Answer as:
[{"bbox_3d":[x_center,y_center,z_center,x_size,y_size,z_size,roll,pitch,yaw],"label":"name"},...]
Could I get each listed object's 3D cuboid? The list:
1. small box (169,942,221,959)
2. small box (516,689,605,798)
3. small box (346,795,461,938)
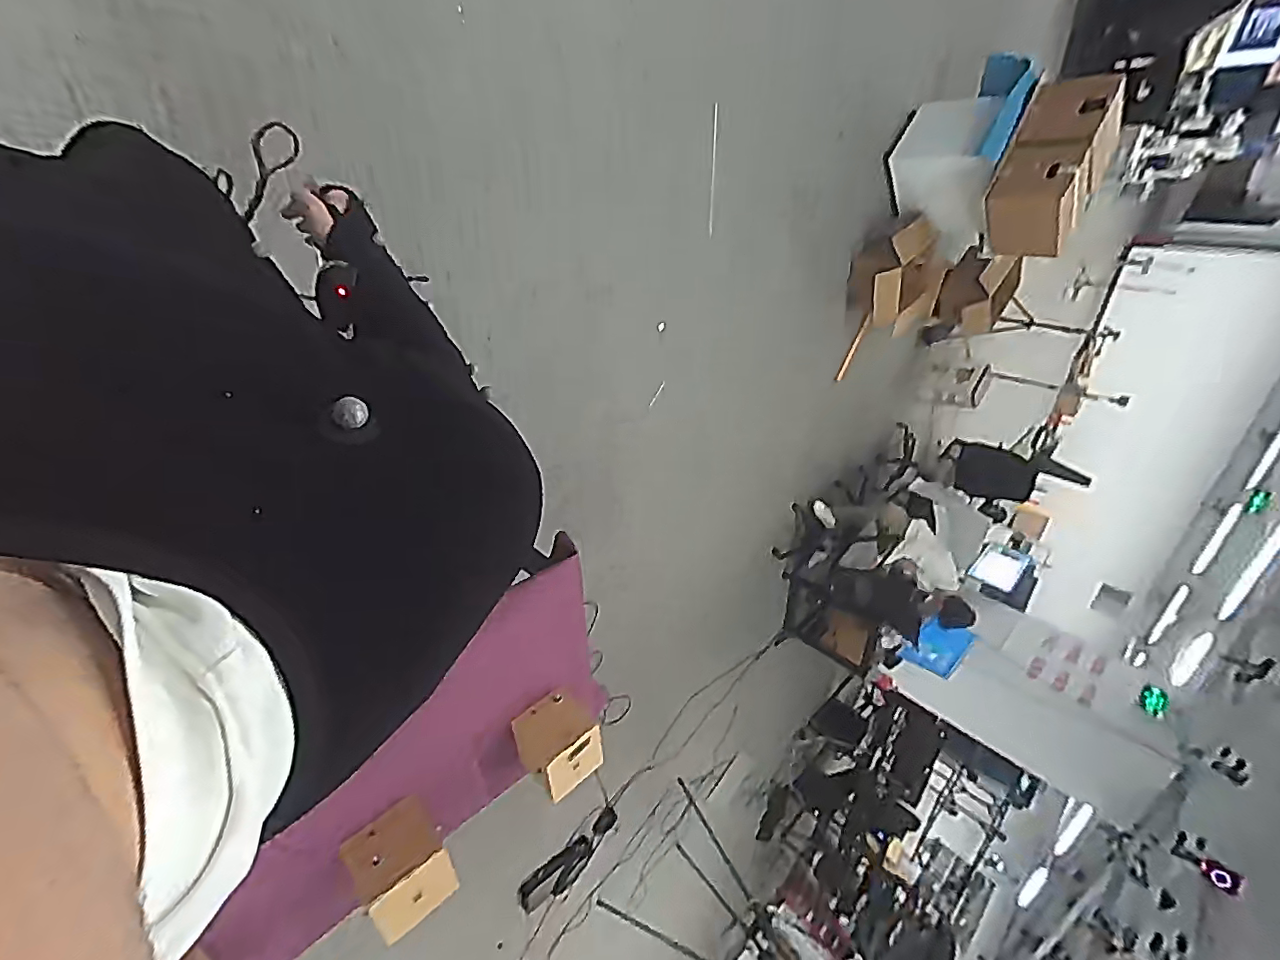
[{"bbox_3d":[-0.832,0.984,0.958,0.168,0.176,0.179,-25,127,-36],"label":"small box"},{"bbox_3d":[-0.214,0.690,1.444,0.168,0.176,0.179,-27,129,-34],"label":"small box"},{"bbox_3d":[-0.528,0.847,1.206,0.168,0.176,0.179,-26,128,-35],"label":"small box"}]
